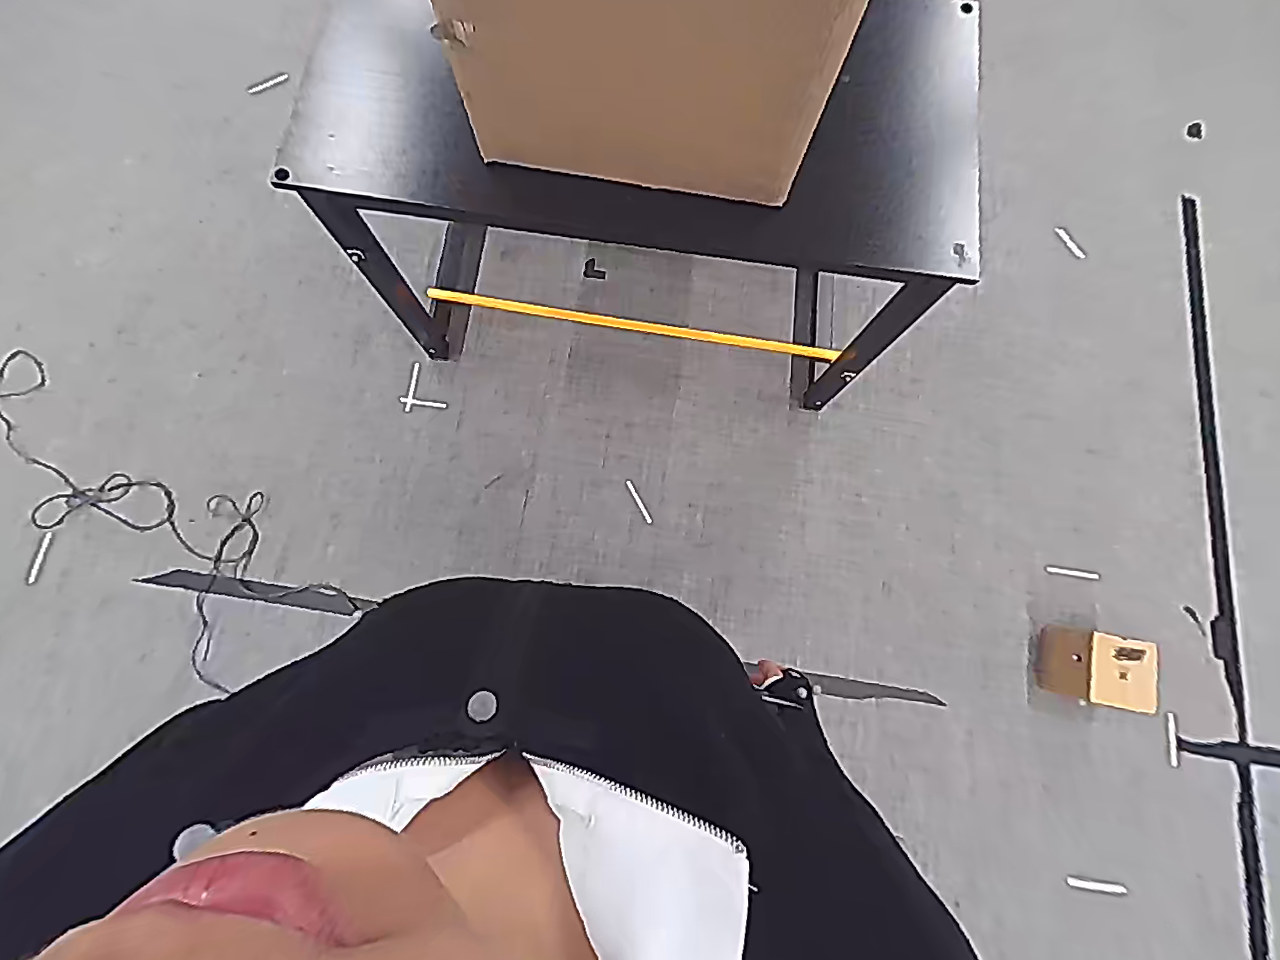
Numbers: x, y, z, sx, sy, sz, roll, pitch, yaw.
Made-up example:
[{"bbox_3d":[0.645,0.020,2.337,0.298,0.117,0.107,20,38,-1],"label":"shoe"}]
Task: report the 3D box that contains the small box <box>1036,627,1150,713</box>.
[{"bbox_3d":[1.195,0.495,1.436,0.168,0.176,0.179,12,79,0],"label":"small box"}]
